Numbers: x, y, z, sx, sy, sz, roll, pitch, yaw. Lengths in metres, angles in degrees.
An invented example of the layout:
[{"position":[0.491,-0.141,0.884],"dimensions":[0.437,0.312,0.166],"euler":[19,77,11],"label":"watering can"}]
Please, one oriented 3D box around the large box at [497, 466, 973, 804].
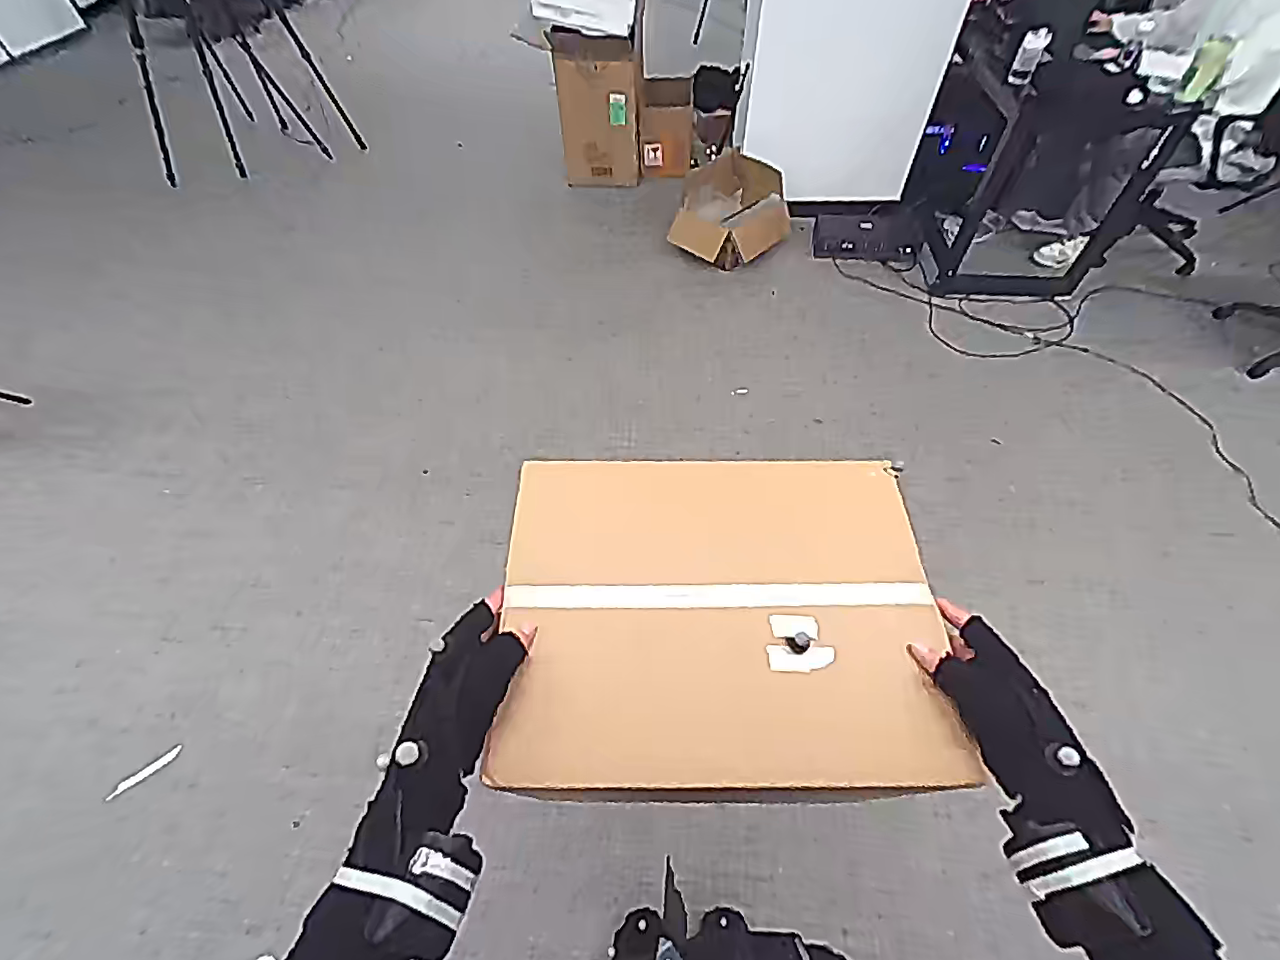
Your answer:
[{"position":[0.073,0.196,0.646],"dimensions":[0.408,0.320,0.320],"euler":[0,58,-1],"label":"large box"}]
